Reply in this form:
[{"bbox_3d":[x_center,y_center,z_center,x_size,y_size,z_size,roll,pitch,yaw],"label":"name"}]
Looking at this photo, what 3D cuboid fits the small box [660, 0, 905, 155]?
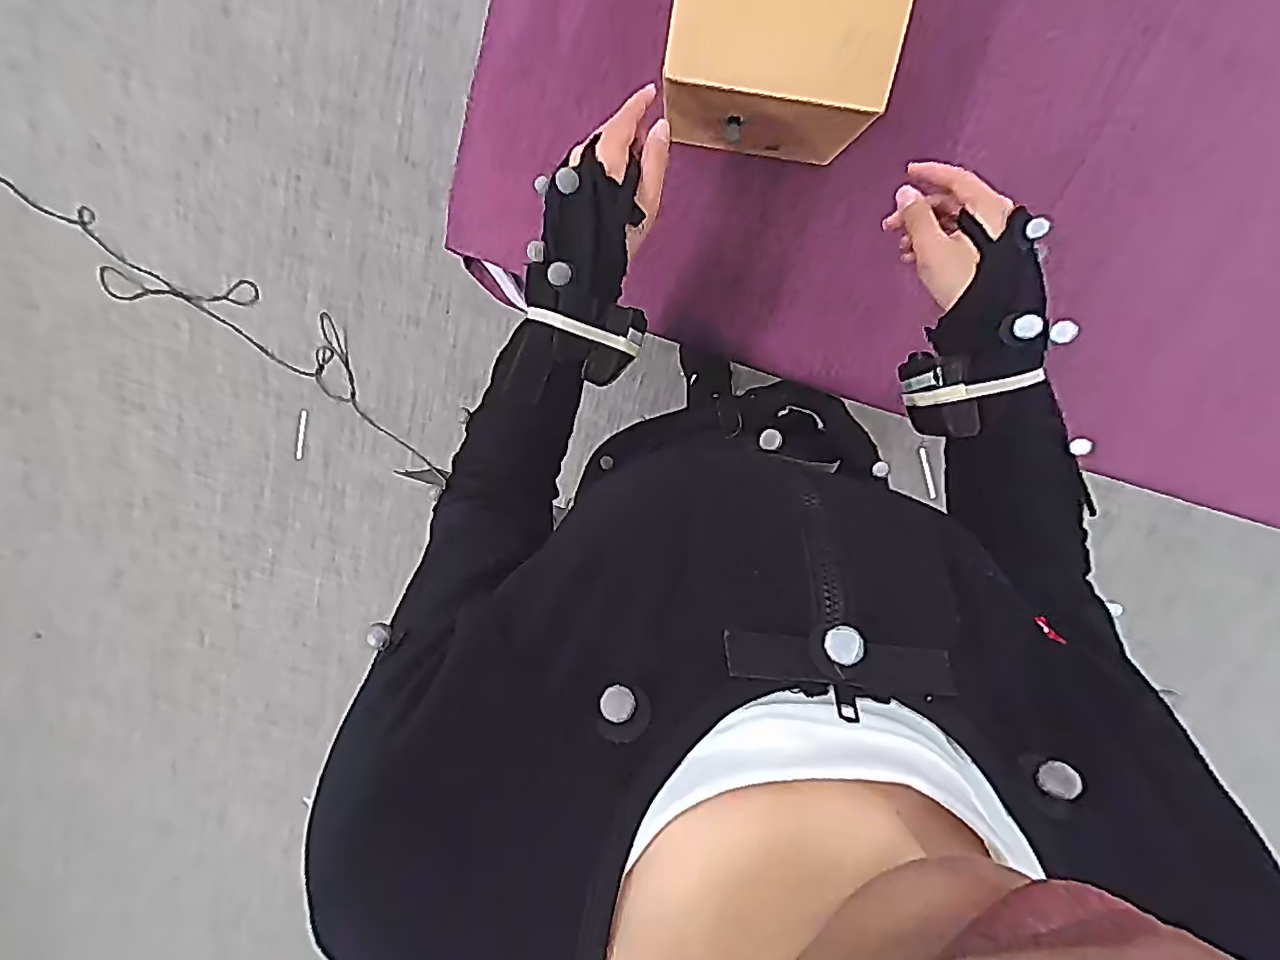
[{"bbox_3d":[0.114,-0.391,0.443,0.168,0.176,0.179,9,107,2],"label":"small box"}]
